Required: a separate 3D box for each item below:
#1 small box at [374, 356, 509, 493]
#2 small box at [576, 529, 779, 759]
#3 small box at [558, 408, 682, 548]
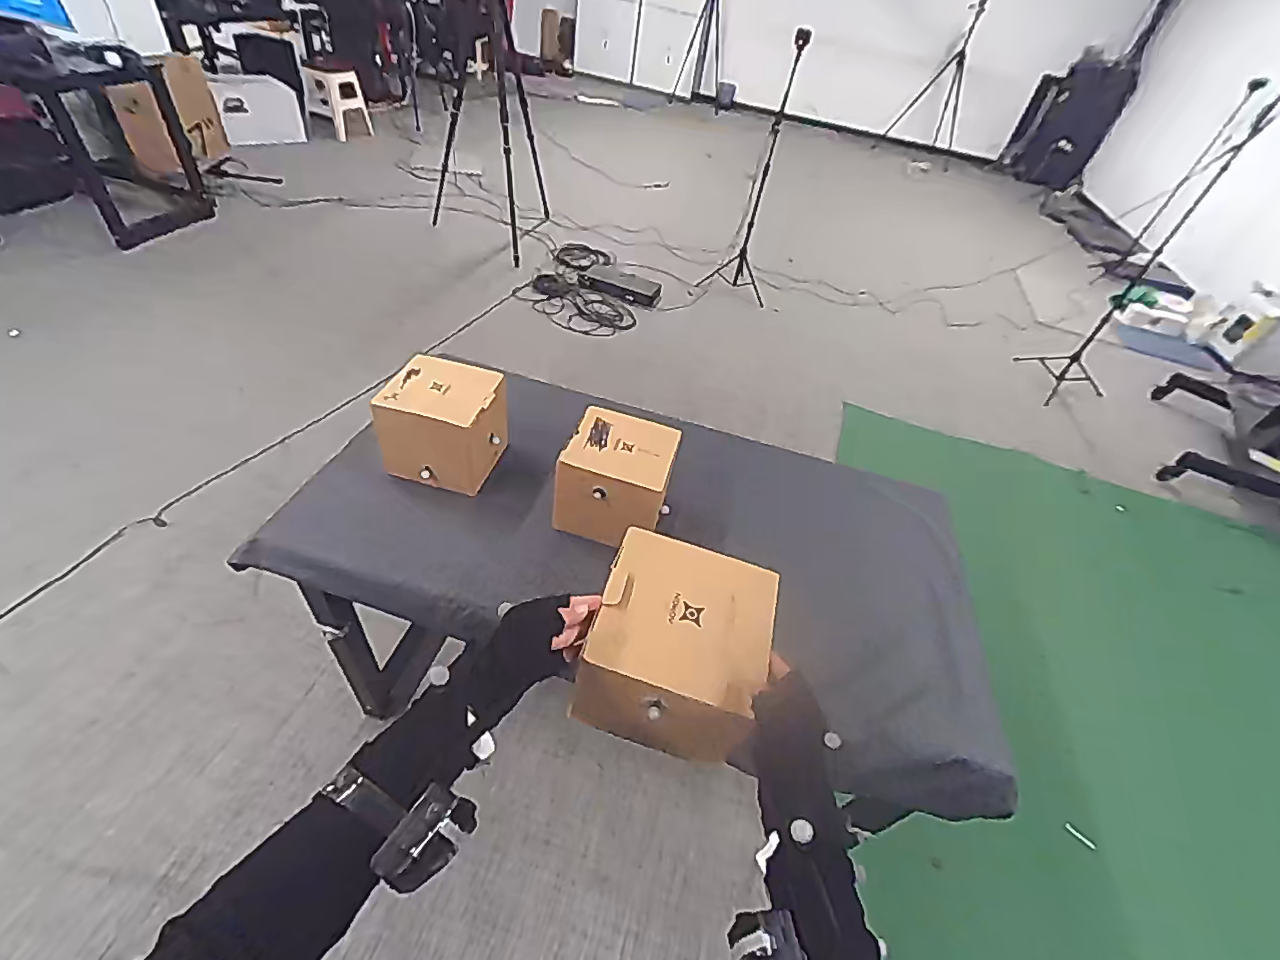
[{"bbox_3d":[-0.356,-0.099,1.006,0.179,0.176,0.168,15,44,2],"label":"small box"},{"bbox_3d":[0.037,0.188,0.606,0.179,0.176,0.168,18,48,2],"label":"small box"},{"bbox_3d":[-0.040,0.002,0.971,0.179,0.176,0.168,17,44,4],"label":"small box"}]
